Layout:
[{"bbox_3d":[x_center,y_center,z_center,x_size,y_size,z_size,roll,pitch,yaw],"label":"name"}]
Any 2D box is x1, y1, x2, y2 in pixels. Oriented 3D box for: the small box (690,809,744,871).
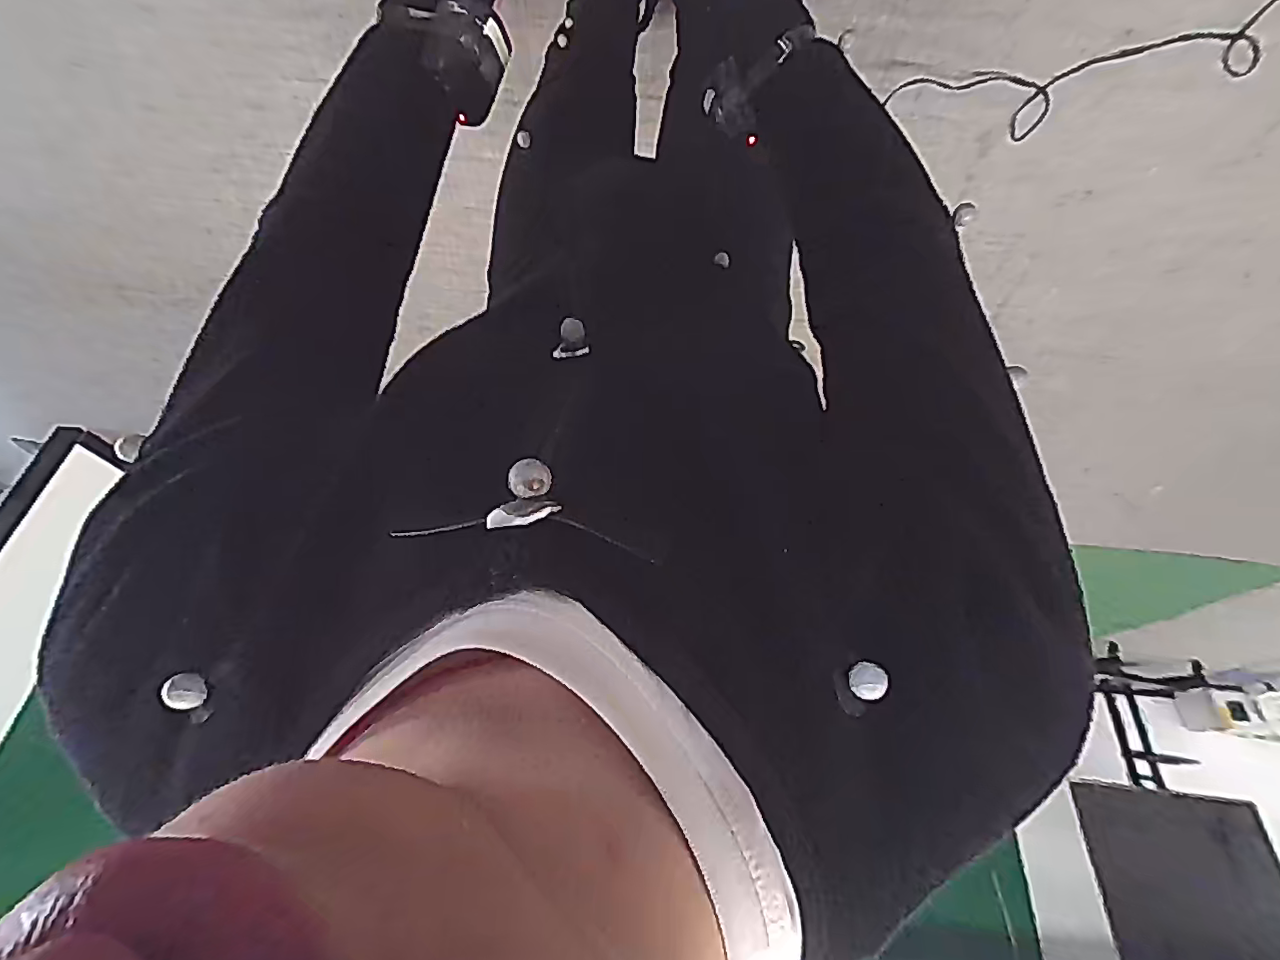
[{"bbox_3d":[0.270,1.279,1.932,0.168,0.176,0.179,6,150,1],"label":"small box"}]
